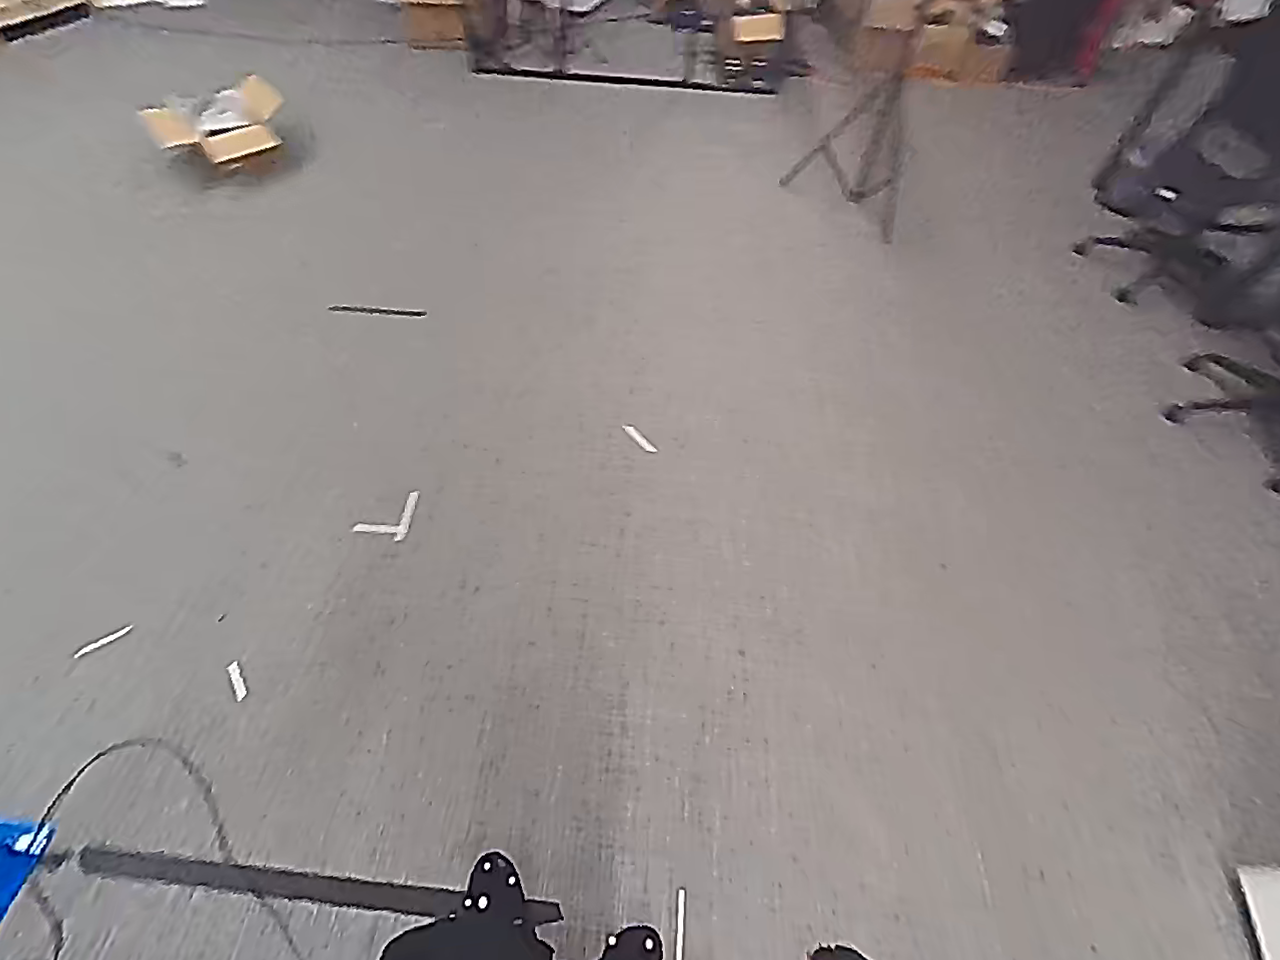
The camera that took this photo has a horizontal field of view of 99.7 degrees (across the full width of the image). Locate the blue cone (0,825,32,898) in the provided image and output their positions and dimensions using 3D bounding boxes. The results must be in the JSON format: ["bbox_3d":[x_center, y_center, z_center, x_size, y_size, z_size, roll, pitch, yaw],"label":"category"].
[{"bbox_3d":[-1.375,0.727,0.971,0.192,0.380,0.193,5,55,0],"label":"blue cone"}]
